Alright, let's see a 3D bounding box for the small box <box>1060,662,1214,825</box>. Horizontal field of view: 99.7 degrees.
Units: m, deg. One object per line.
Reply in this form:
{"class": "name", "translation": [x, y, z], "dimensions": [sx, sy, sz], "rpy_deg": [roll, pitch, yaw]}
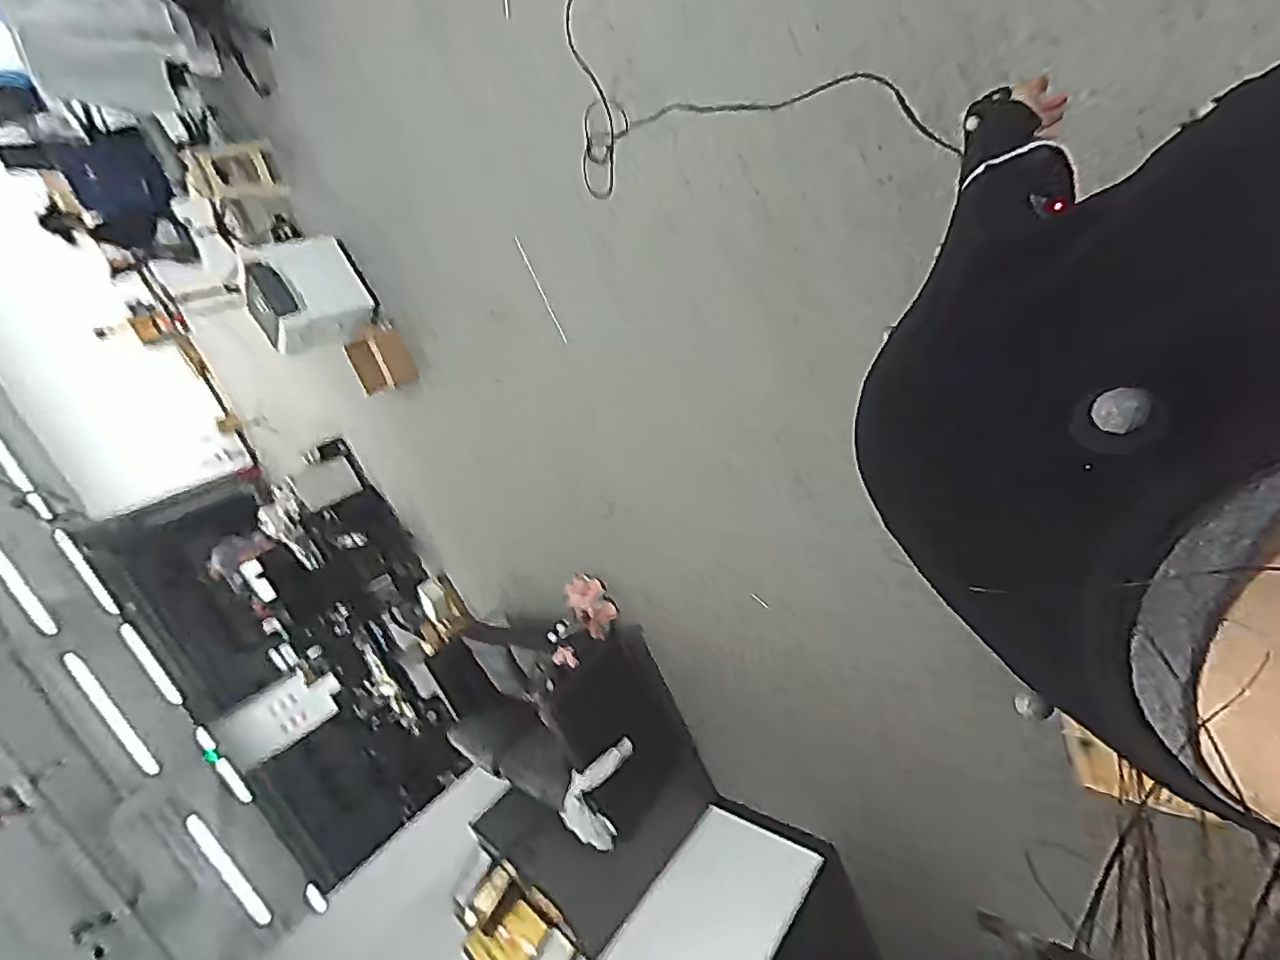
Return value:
{"class": "small box", "translation": [0.870, 0.444, 0.946], "dimensions": [0.179, 0.176, 0.168], "rpy_deg": [-6, 108, 49]}
